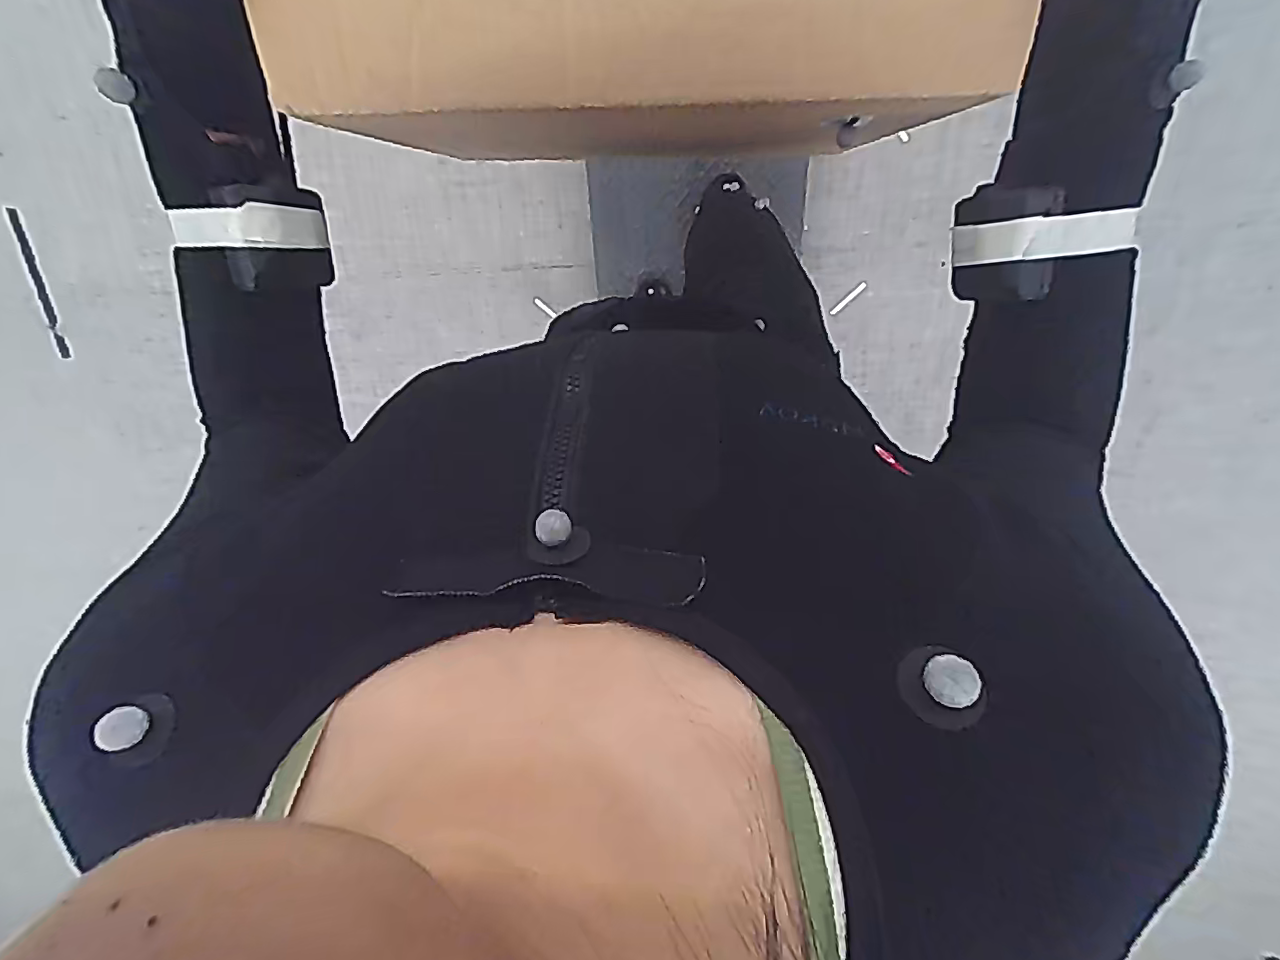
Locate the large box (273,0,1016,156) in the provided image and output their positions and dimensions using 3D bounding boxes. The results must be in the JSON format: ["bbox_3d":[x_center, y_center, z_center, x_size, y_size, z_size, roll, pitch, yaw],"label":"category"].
[{"bbox_3d":[0.002,-0.418,0.372,0.408,0.320,0.320,0,116,3],"label":"large box"}]
